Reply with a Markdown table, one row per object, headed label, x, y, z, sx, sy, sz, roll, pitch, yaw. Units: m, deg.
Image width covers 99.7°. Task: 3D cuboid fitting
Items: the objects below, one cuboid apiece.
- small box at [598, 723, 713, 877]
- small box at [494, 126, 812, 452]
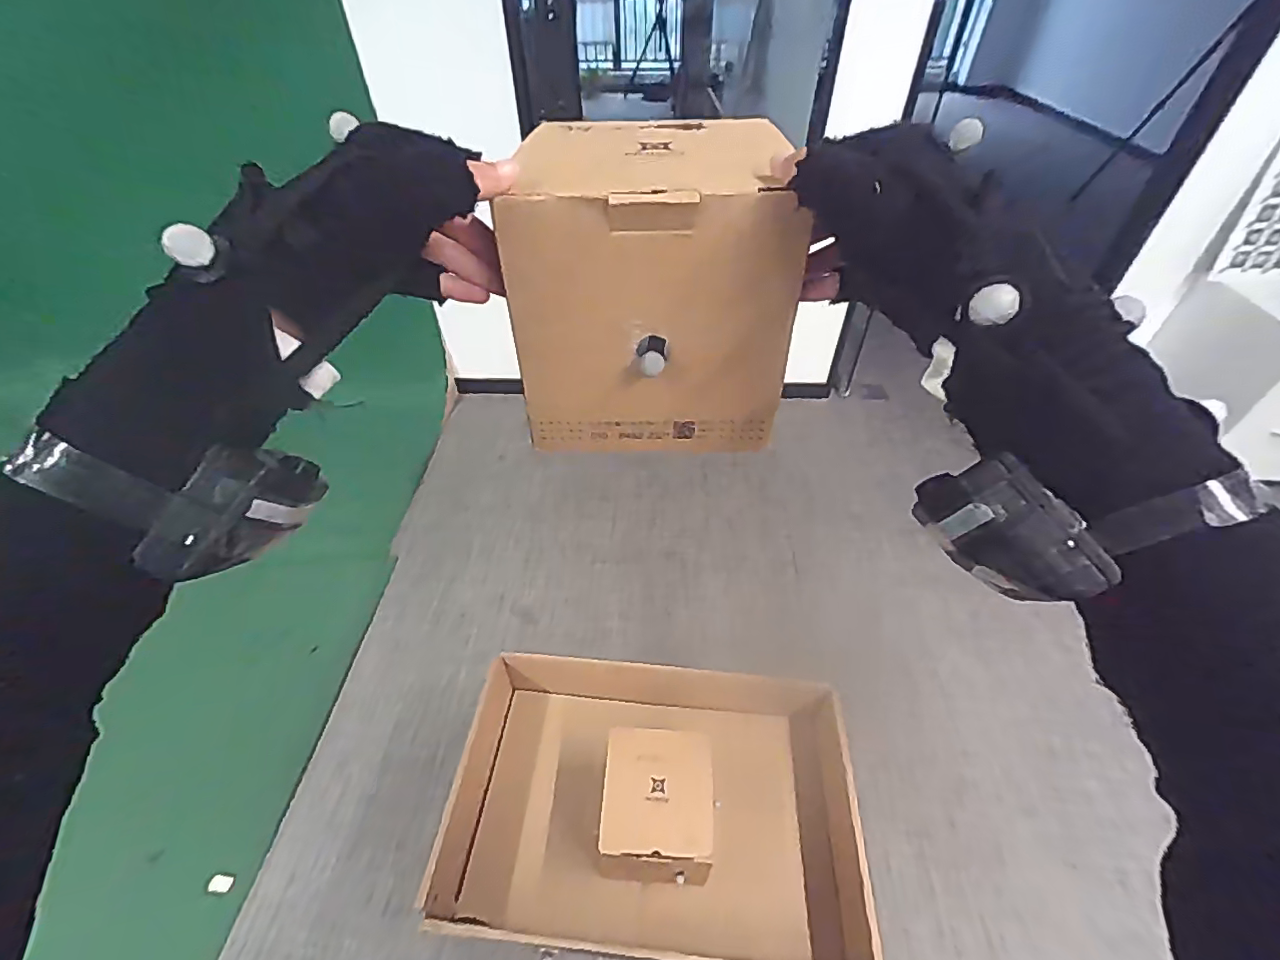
| label | x | y | z | sx | sy | sz | roll | pitch | yaw |
| --- | --- | --- | --- | --- | --- | --- | --- | --- | --- |
| small box | 0.027 | 0.517 | 0.870 | 0.168 | 0.176 | 0.179 | 3 | 43 | 2 |
| small box | 0.011 | -0.134 | 0.385 | 0.168 | 0.176 | 0.179 | 1 | 44 | 2 |
